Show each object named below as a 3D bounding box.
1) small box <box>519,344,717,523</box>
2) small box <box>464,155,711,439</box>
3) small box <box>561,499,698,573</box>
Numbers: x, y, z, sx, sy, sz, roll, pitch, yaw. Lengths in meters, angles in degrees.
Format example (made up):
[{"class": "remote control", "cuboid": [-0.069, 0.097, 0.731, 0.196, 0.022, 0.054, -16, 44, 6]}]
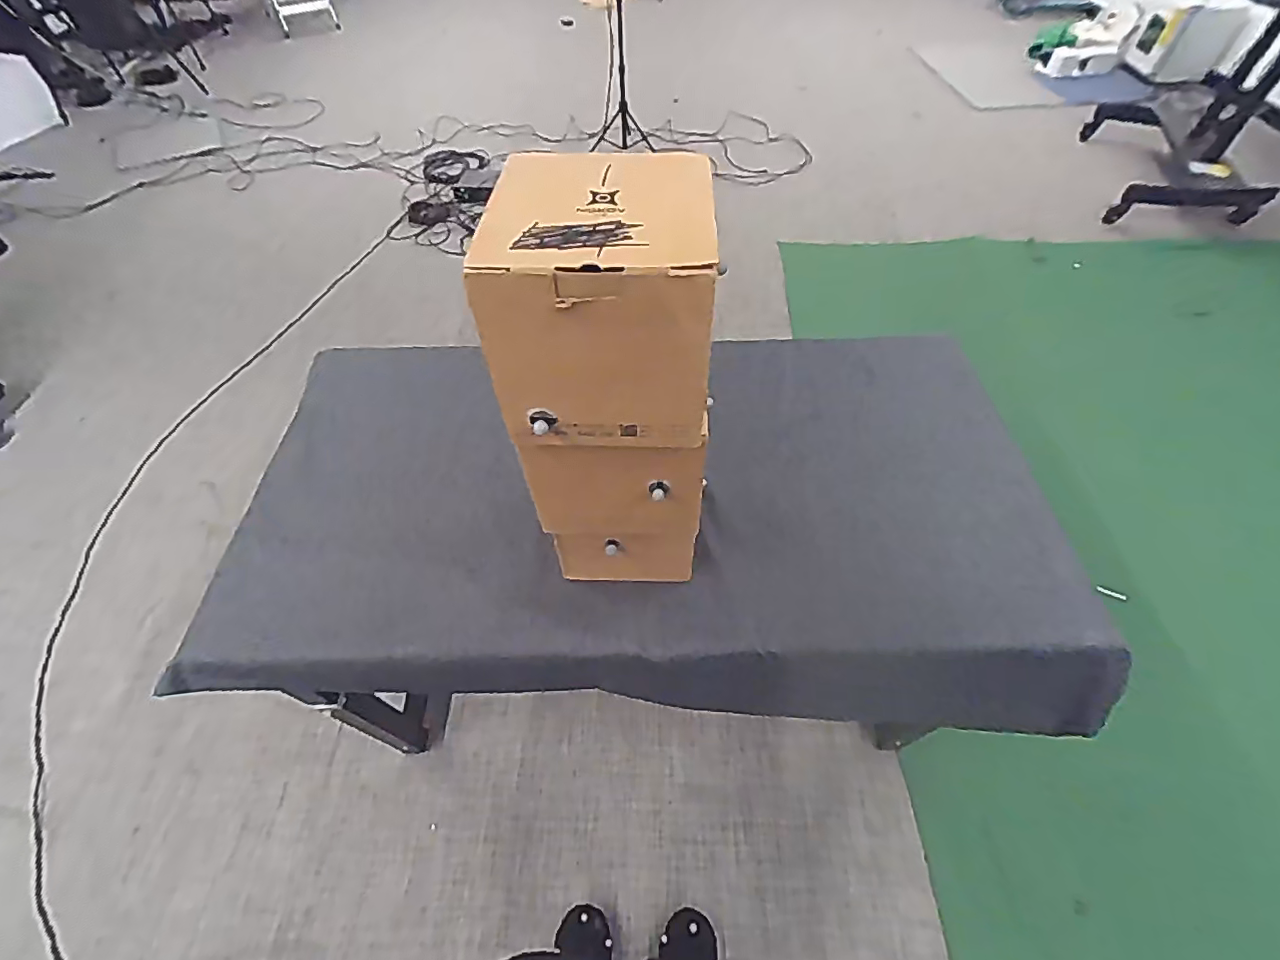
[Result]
[{"class": "small box", "cuboid": [-0.021, -0.065, 0.581, 0.179, 0.176, 0.168, -2, 54, -1]}, {"class": "small box", "cuboid": [-0.028, -0.150, 0.461, 0.168, 0.176, 0.179, 2, 52, 2]}, {"class": "small box", "cuboid": [-0.017, 0.018, 0.745, 0.179, 0.176, 0.168, -2, 53, -1]}]
